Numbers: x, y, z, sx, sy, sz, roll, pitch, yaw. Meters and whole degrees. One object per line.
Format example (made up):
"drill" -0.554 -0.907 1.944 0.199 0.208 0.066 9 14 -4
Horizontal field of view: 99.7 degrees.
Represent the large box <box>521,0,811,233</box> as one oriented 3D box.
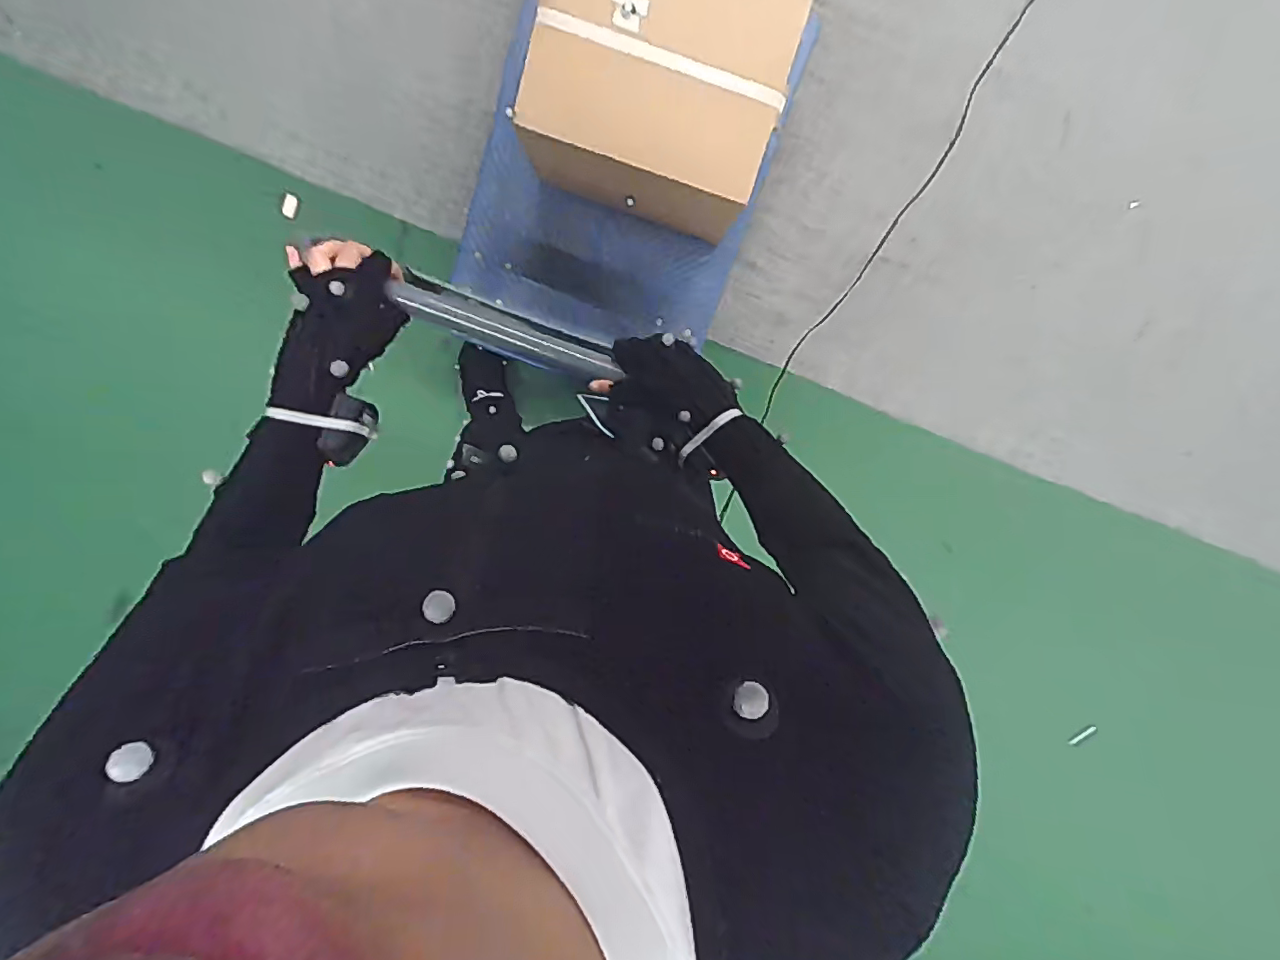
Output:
"large box" 0.040 -0.695 0.994 0.408 0.320 0.320 16 101 -3
